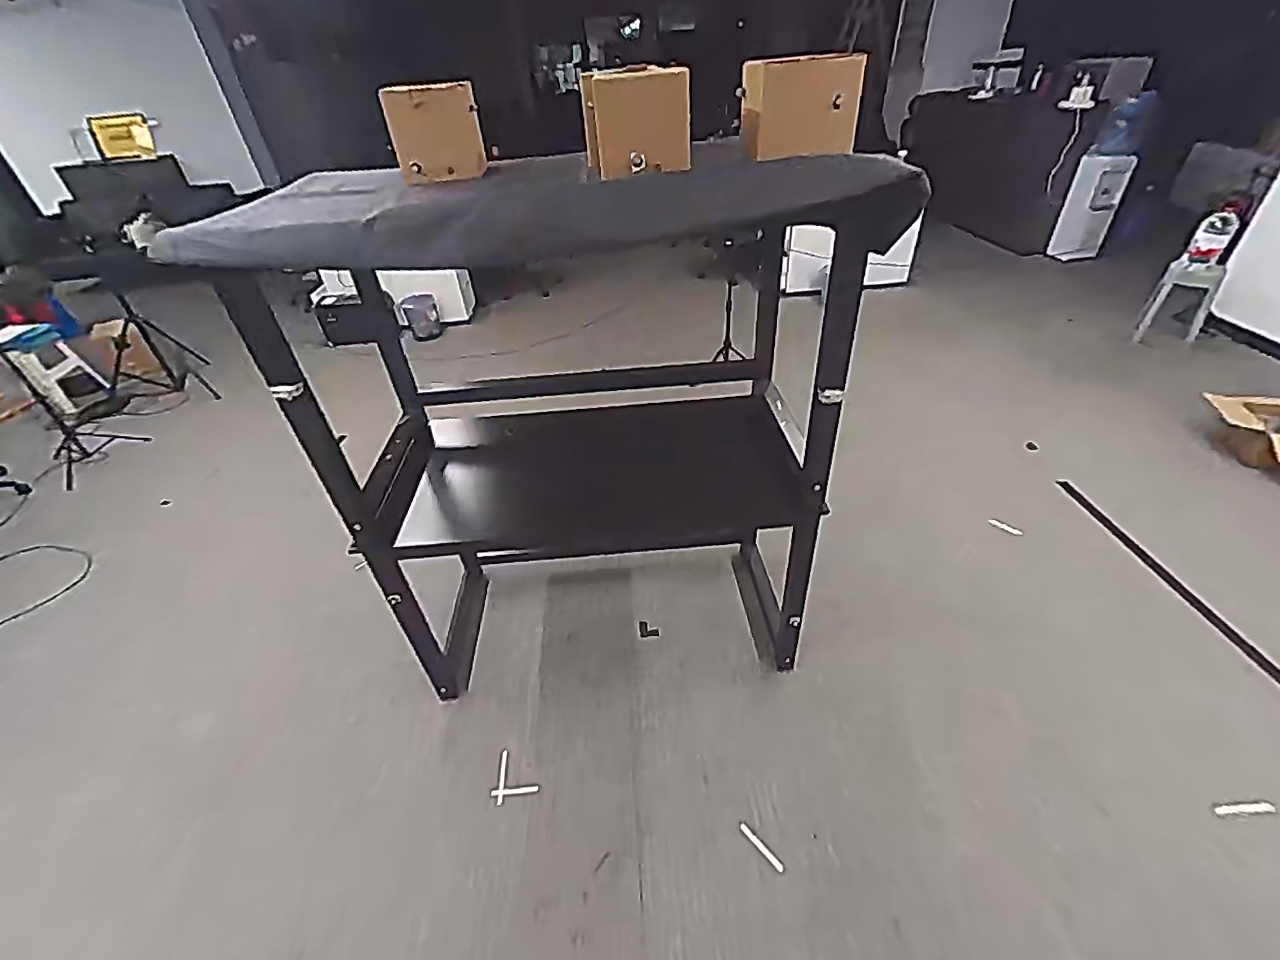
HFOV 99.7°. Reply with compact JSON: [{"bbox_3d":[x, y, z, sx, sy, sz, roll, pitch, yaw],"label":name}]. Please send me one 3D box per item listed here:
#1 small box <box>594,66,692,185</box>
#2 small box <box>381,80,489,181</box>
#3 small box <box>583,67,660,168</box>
[{"bbox_3d":[0.007,-0.660,1.010,0.168,0.176,0.179,-5,37,1],"label":"small box"},{"bbox_3d":[-0.437,-0.762,1.184,0.168,0.176,0.179,-7,38,-4],"label":"small box"},{"bbox_3d":[-0.031,-0.805,1.199,0.179,0.176,0.168,-5,38,-1],"label":"small box"}]
